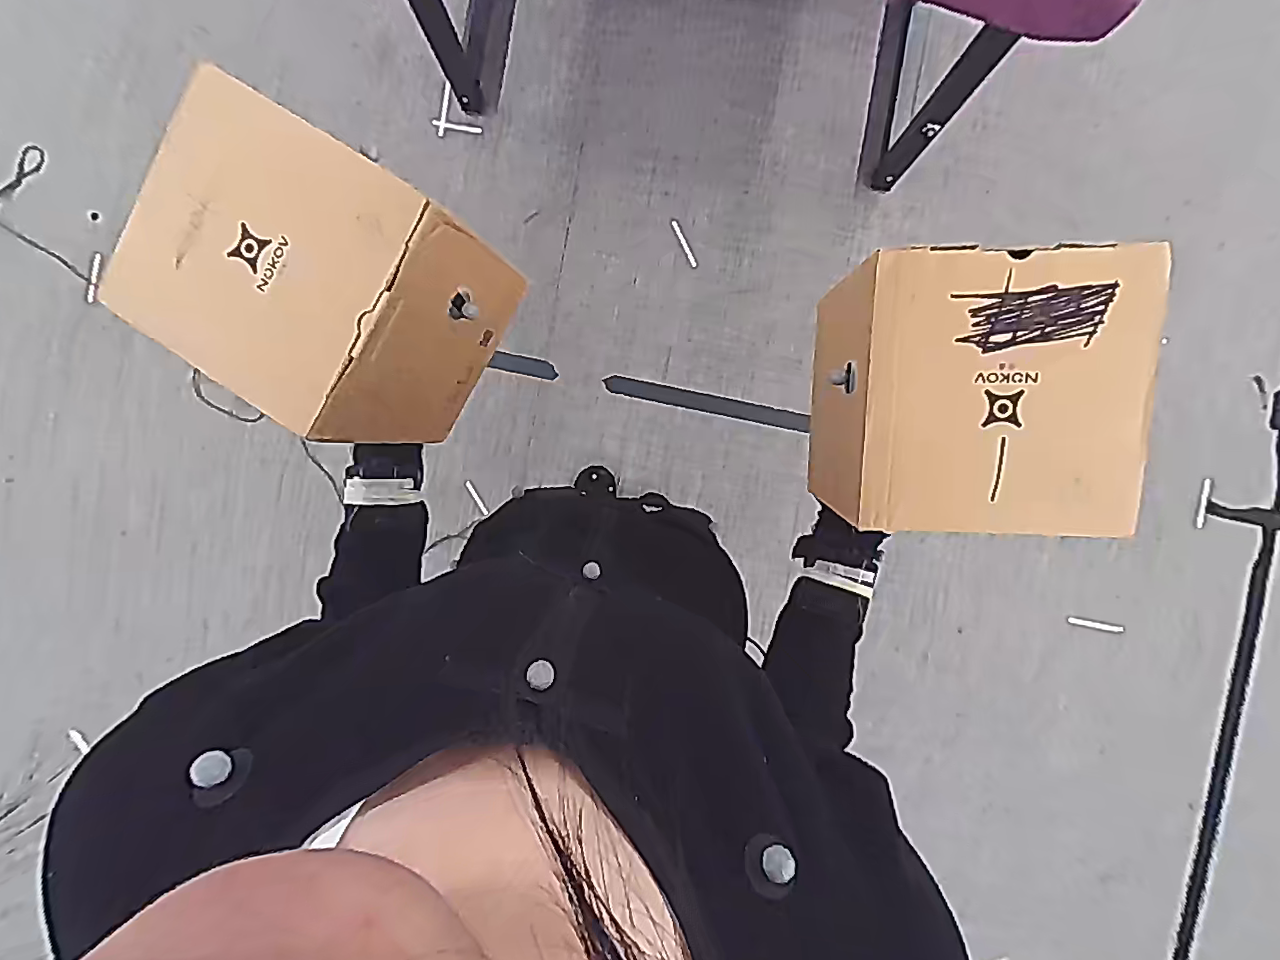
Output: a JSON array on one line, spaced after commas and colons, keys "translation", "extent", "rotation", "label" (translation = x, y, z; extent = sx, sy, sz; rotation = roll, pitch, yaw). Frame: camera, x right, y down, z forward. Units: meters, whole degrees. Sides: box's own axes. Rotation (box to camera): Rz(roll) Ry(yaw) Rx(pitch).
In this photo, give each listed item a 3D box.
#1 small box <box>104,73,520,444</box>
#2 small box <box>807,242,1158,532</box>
[{"translation": [-0.220, -0.141, 0.410], "extent": [0.179, 0.176, 0.168], "rotation": [32, 96, 6], "label": "small box"}, {"translation": [0.230, -0.066, 0.414], "extent": [0.168, 0.176, 0.179], "rotation": [1, 98, 6], "label": "small box"}]
